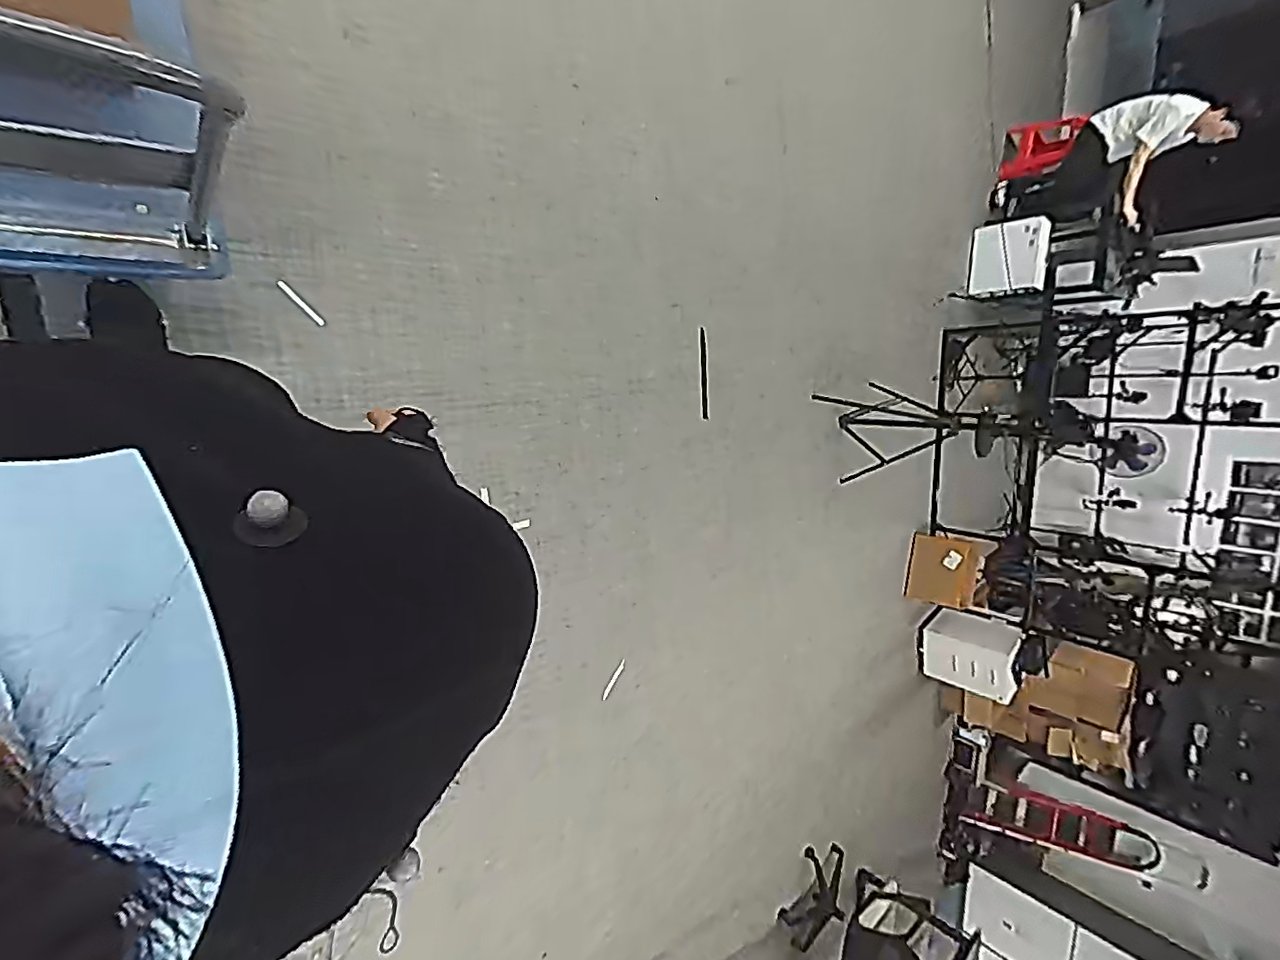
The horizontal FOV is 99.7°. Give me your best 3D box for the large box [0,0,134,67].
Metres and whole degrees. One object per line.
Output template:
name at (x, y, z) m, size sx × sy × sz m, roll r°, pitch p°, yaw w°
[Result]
large box at (-0.915, -0.789, 0.650) m, size 0.408 × 0.320 × 0.320 m, roll -10°, pitch 103°, yaw -40°
